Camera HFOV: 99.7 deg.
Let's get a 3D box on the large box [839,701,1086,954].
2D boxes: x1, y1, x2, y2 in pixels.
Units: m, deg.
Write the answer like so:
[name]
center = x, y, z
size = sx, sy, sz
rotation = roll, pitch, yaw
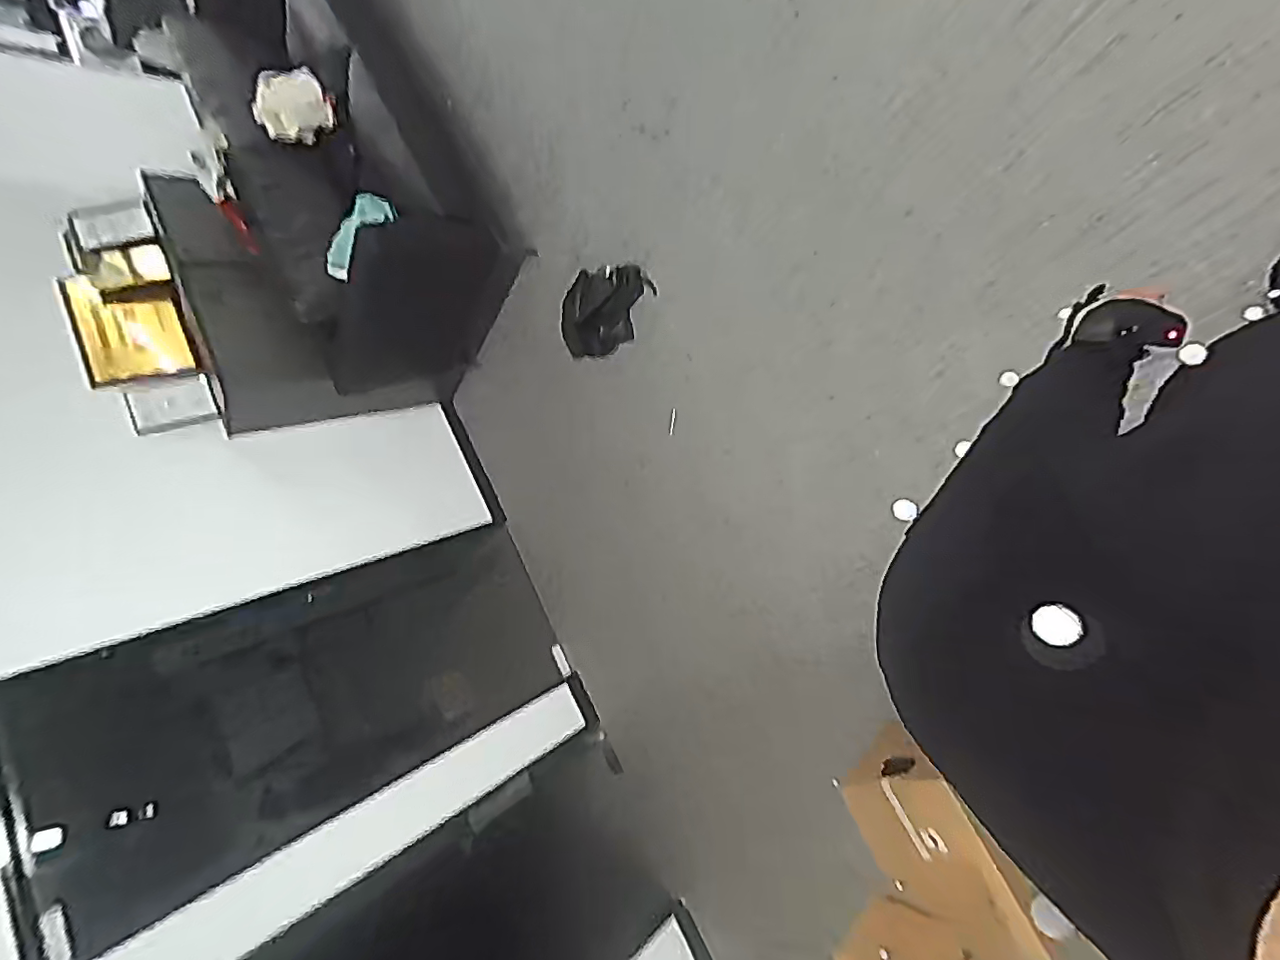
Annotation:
[large box]
center = 0.793, 0.830, 1.345
size = 0.320, 0.320, 0.408
rotation = -41, 72, 47
